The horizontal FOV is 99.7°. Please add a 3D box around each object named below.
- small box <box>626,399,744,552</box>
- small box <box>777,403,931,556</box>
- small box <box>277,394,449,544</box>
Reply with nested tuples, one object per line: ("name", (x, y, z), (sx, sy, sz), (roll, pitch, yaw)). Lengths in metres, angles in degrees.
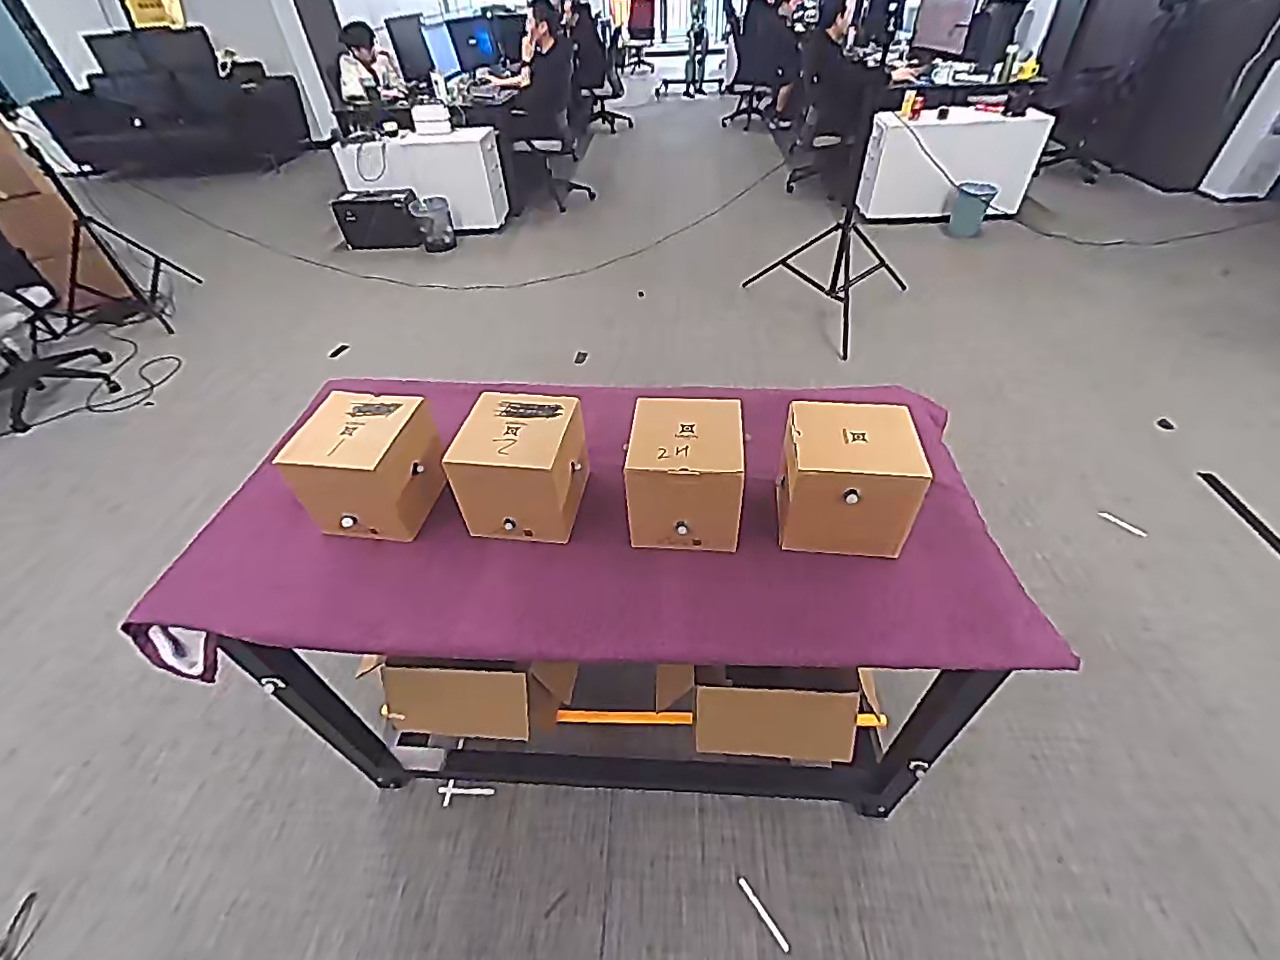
("small box", (0.073, -0.009, 0.856), (0.168, 0.176, 0.179), (2, 43, 6))
("small box", (0.313, 0.000, 0.833), (0.179, 0.176, 0.168), (3, 42, 8))
("small box", (-0.438, -0.019, 0.895), (0.168, 0.176, 0.179), (4, 46, 8))
